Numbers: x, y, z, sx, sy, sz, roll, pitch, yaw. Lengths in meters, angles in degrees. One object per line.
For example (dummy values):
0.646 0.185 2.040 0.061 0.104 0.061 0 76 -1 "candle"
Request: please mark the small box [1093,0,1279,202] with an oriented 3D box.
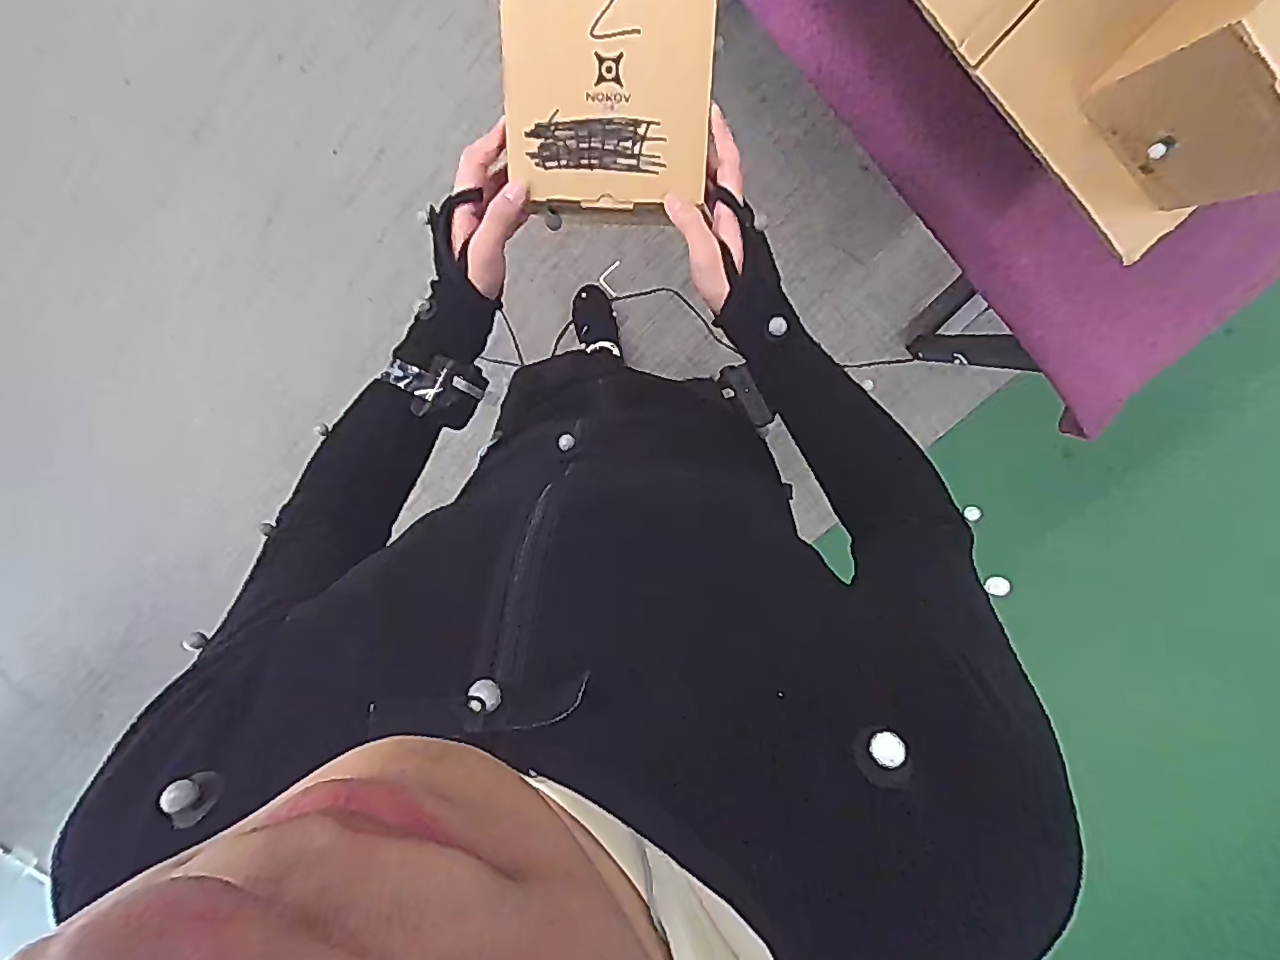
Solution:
0.585 -0.392 0.491 0.168 0.176 0.179 41 104 -11 "small box"
